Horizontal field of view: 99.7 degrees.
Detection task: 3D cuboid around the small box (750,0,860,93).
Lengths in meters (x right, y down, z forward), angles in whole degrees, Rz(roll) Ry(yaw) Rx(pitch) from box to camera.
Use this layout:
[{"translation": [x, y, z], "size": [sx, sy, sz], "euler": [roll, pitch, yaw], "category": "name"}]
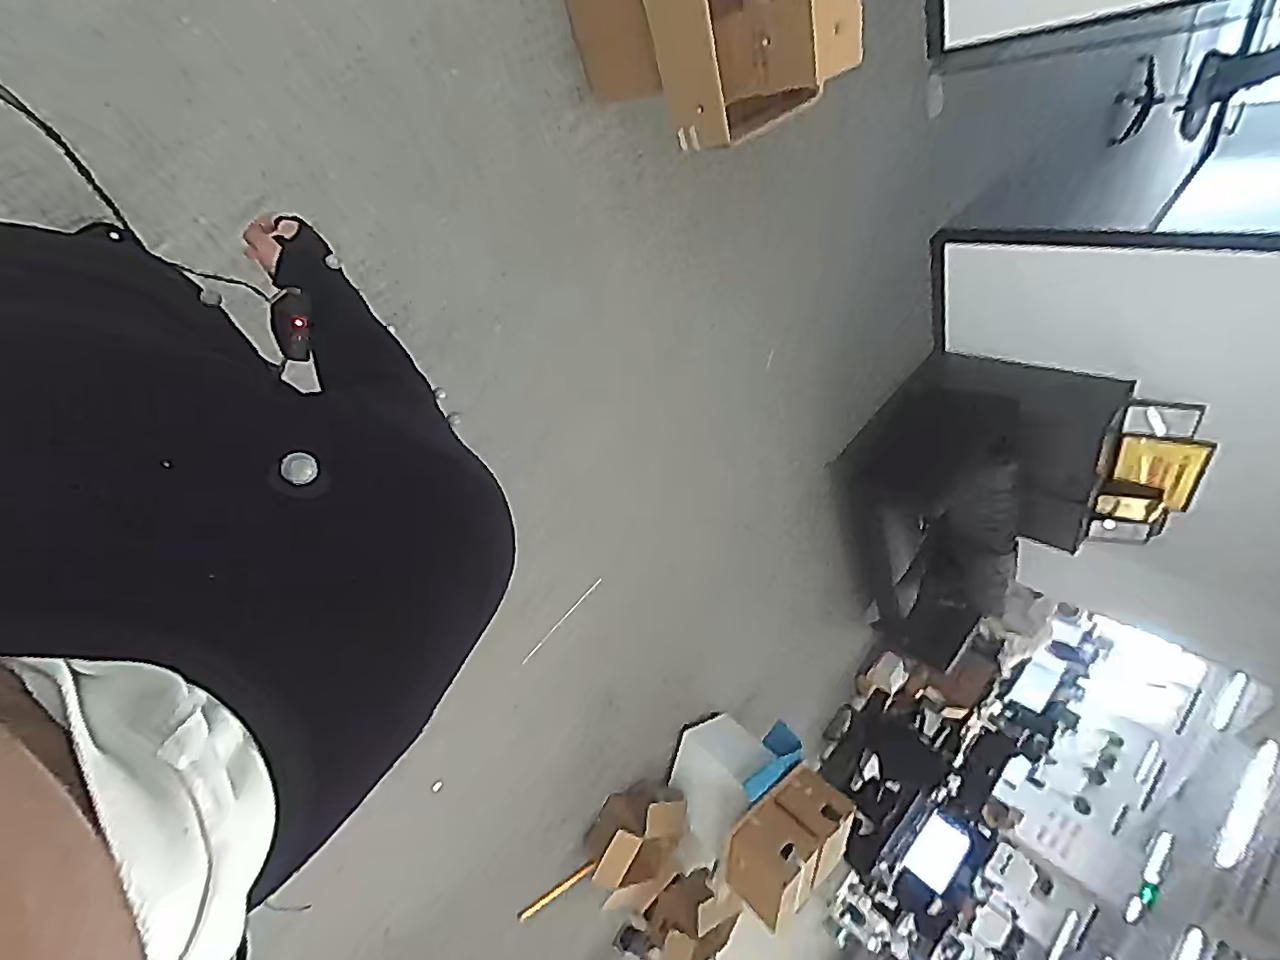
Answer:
[{"translation": [0.377, -1.012, 1.231], "size": [0.179, 0.176, 0.168], "euler": [-38, 130, -22], "category": "small box"}]
